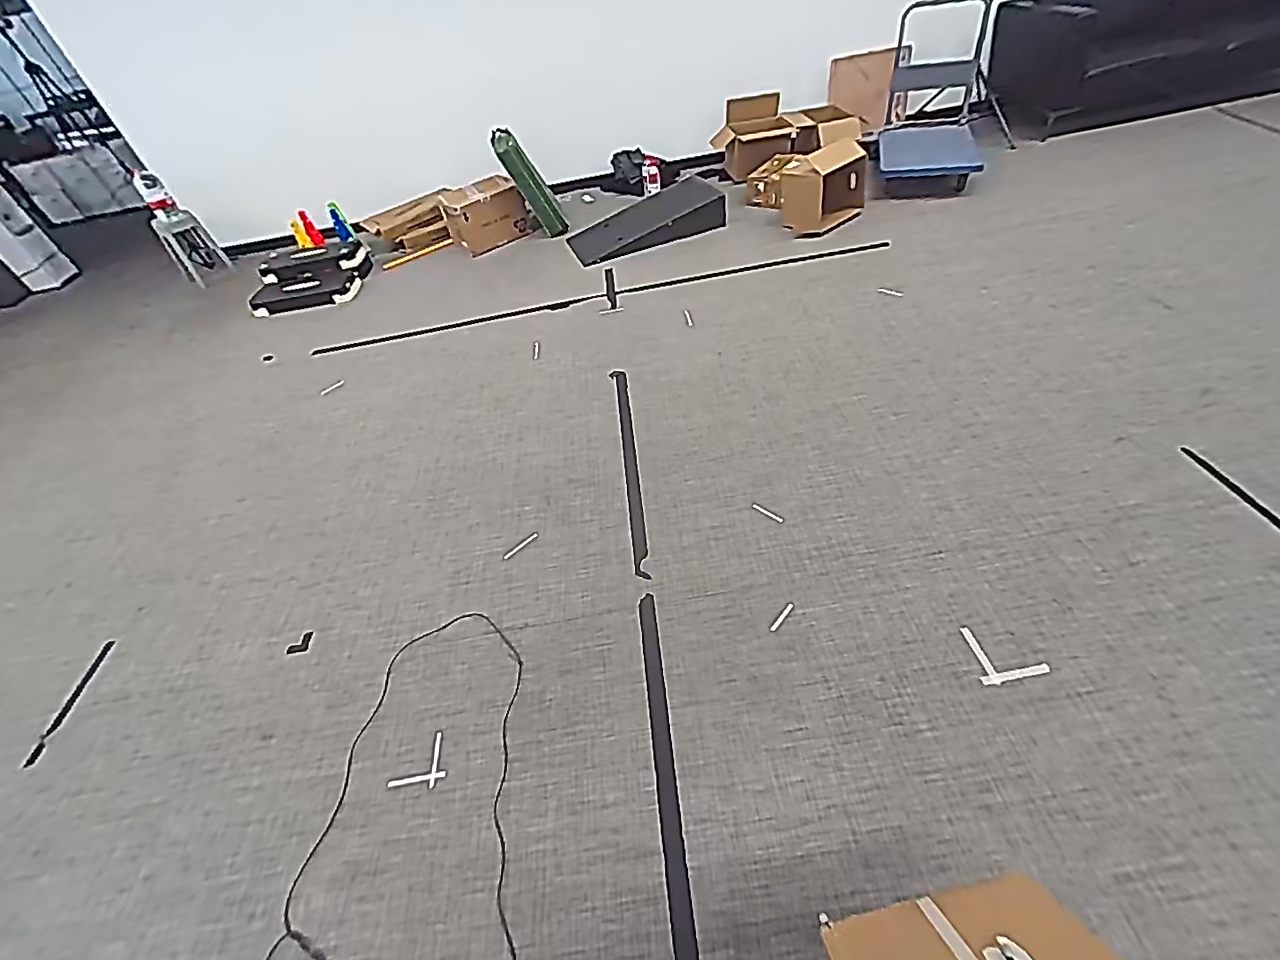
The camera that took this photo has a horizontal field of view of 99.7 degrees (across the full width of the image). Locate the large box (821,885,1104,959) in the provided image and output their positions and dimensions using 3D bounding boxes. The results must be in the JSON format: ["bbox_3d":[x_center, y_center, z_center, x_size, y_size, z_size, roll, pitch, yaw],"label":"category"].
[{"bbox_3d":[0.445,0.747,0.575,0.320,0.408,0.320,-14,82,0],"label":"large box"}]
